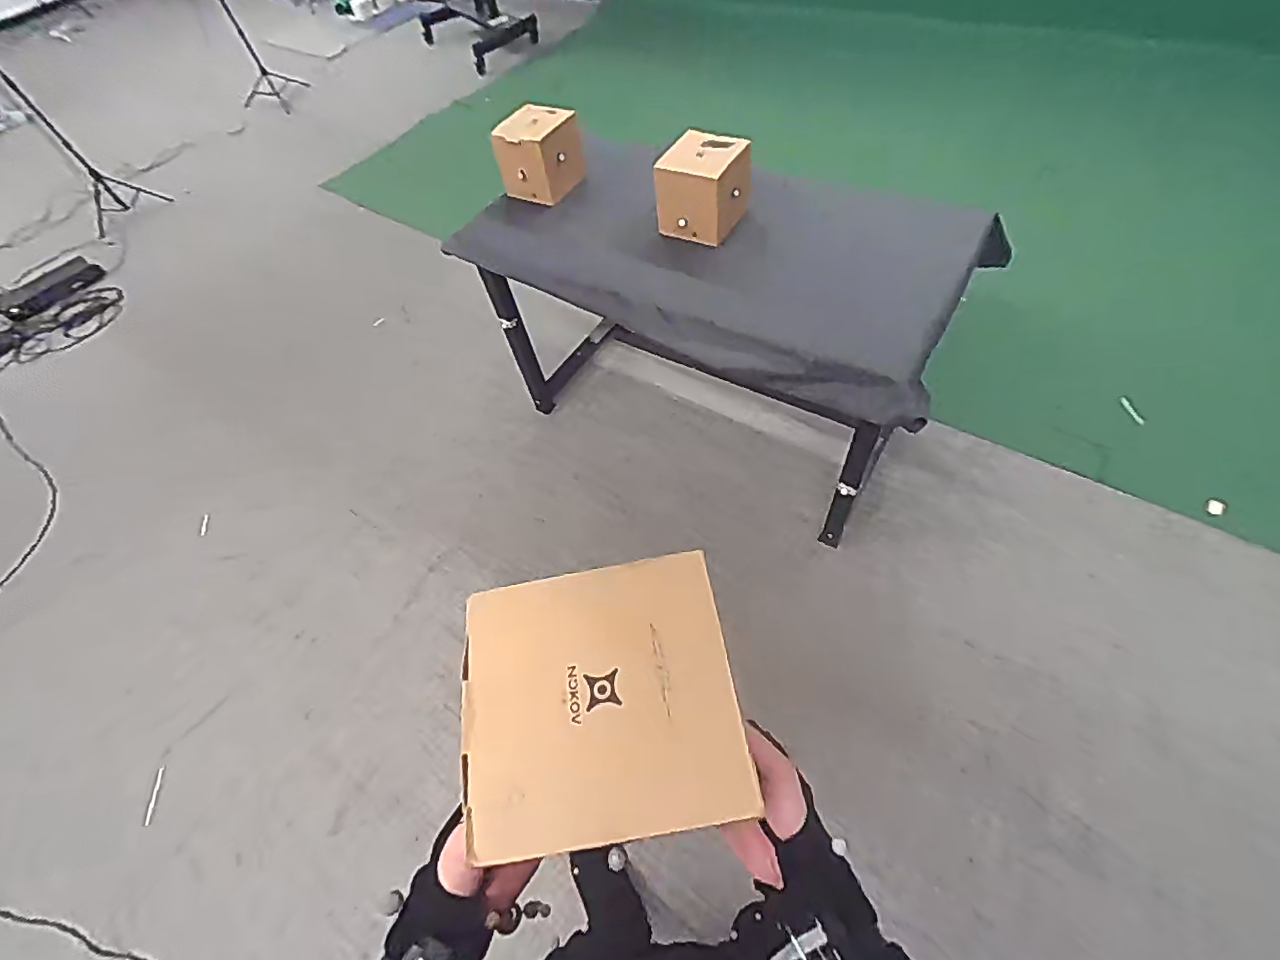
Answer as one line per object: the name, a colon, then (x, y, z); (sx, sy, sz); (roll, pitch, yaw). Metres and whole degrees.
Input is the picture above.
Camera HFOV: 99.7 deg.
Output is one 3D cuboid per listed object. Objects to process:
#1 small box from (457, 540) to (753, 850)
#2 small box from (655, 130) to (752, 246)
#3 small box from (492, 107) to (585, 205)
small box: (-0.023, 0.167, 0.414); (0.179, 0.176, 0.168); (-11, 60, 0)
small box: (0.154, -0.700, 1.300); (0.168, 0.176, 0.179); (24, 64, 22)
small box: (-0.269, -0.889, 1.488); (0.168, 0.176, 0.179); (22, 63, 21)
